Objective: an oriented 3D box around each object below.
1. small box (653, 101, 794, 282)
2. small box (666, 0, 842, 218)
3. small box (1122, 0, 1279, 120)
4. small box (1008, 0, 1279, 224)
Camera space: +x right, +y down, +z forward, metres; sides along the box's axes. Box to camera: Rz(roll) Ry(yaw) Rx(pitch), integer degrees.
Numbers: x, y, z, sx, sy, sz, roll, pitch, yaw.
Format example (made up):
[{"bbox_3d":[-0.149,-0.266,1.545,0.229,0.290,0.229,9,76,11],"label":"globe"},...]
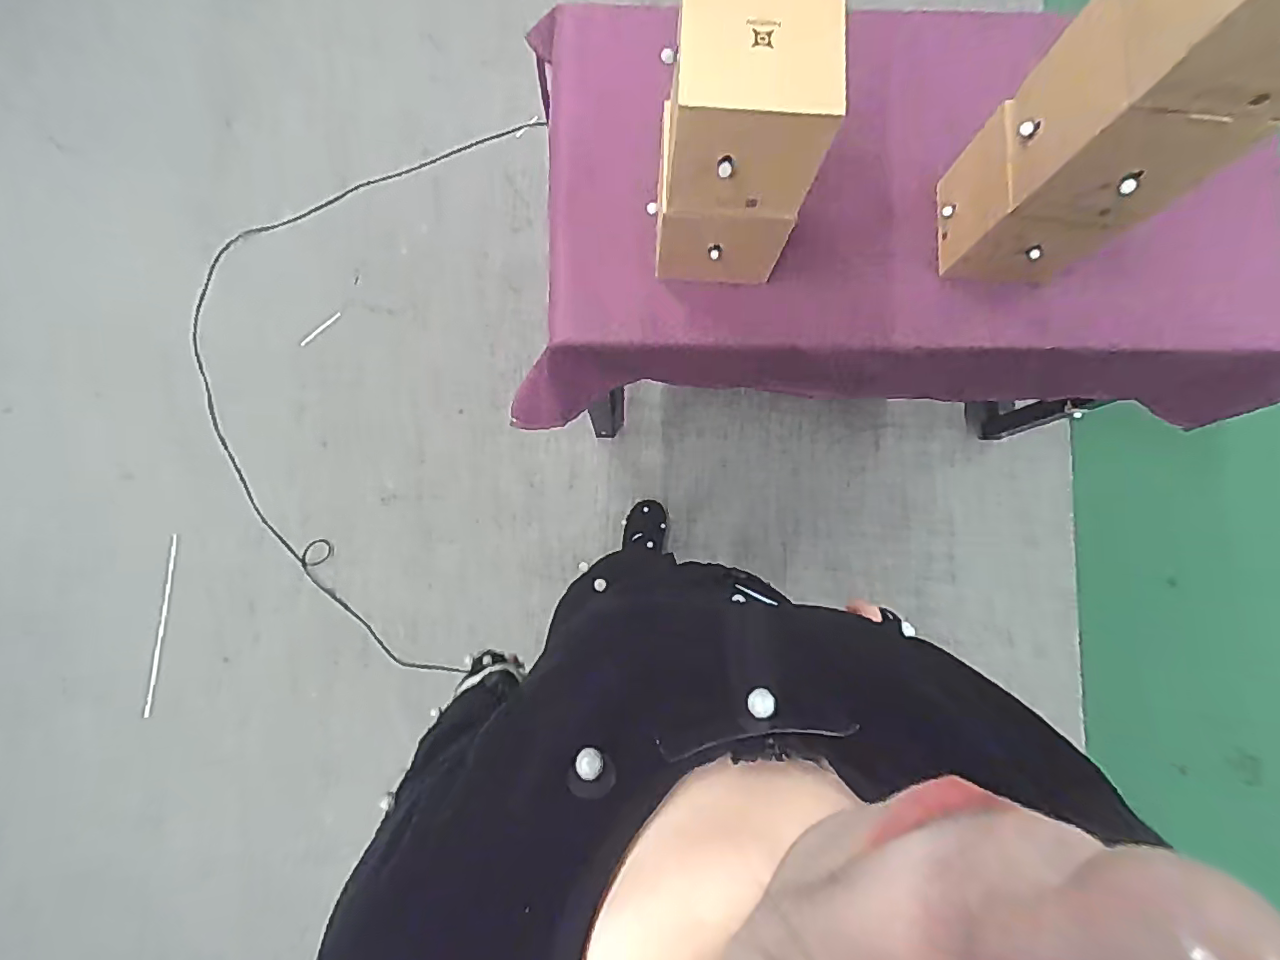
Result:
[{"bbox_3d":[0.112,-0.402,0.779,0.179,0.176,0.168,2,81,0],"label":"small box"},{"bbox_3d":[0.118,-0.428,0.618,0.168,0.176,0.179,3,80,-1],"label":"small box"},{"bbox_3d":[0.563,-0.449,0.462,0.168,0.176,0.179,5,81,0],"label":"small box"},{"bbox_3d":[0.563,-0.427,0.626,0.168,0.176,0.179,7,82,0],"label":"small box"}]
